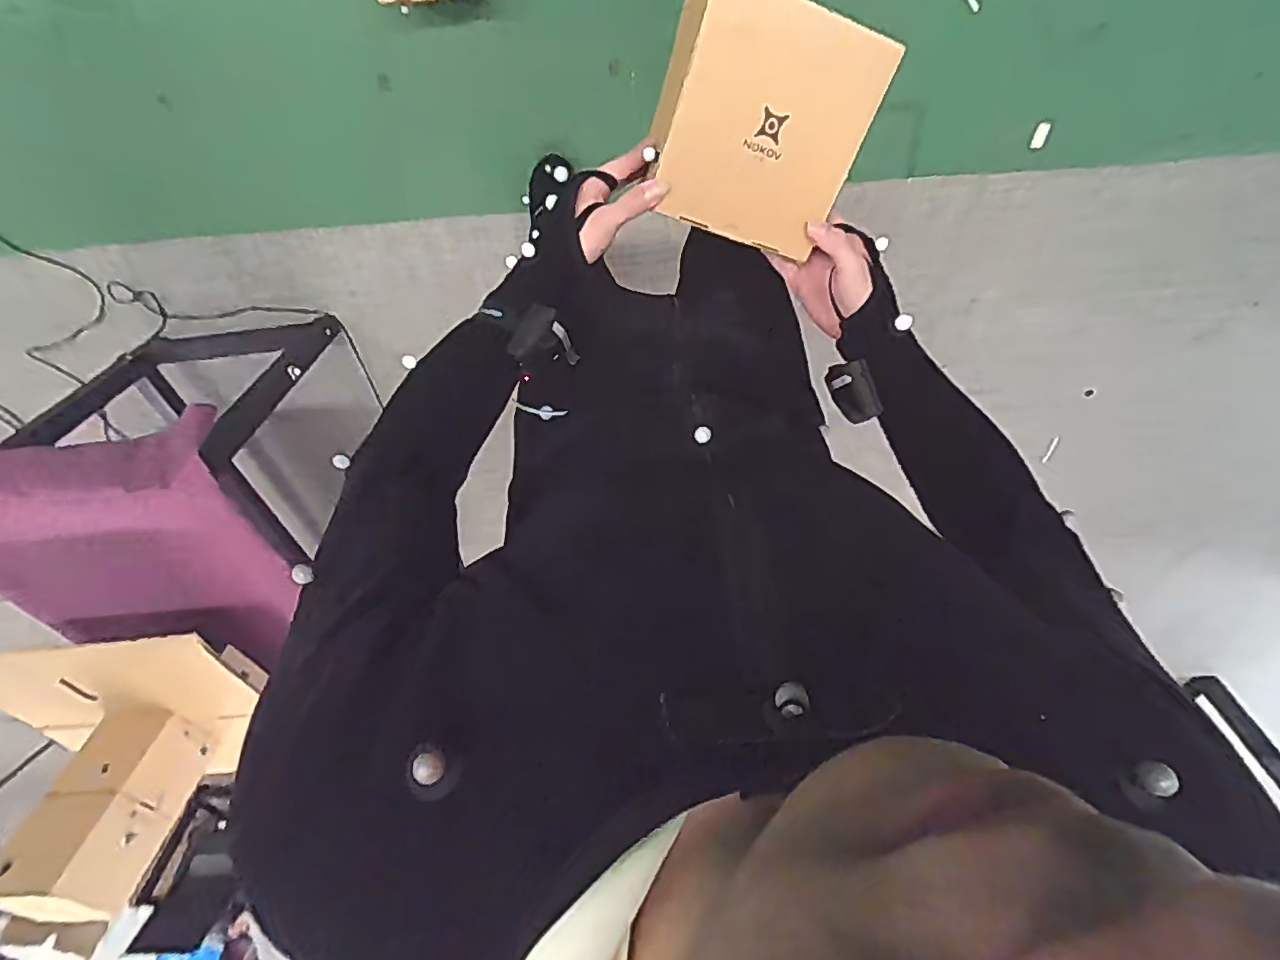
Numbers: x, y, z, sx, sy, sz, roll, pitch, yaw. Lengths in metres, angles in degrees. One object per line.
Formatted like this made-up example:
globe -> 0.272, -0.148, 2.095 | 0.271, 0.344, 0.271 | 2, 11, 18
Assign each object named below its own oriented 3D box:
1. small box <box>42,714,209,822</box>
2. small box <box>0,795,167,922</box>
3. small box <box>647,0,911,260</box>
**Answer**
small box -> -1.097, 0.629, 1.180 | 0.179, 0.176, 0.168 | -5, 129, 6
small box -> -1.102, 0.735, 1.055 | 0.179, 0.176, 0.168 | -6, 130, 5
small box -> 0.110, -0.344, 0.522 | 0.168, 0.176, 0.179 | 12, 124, -13
